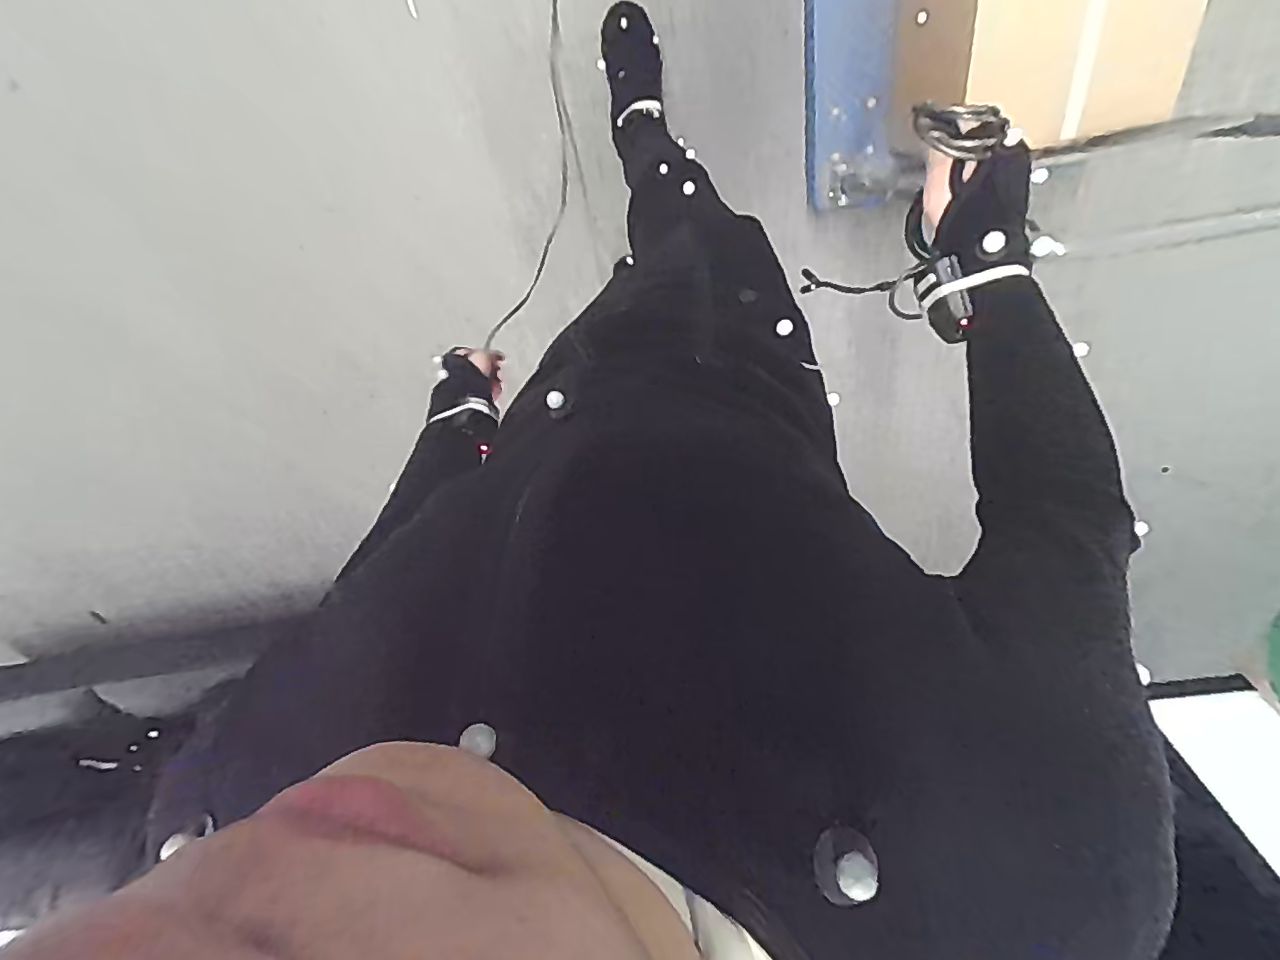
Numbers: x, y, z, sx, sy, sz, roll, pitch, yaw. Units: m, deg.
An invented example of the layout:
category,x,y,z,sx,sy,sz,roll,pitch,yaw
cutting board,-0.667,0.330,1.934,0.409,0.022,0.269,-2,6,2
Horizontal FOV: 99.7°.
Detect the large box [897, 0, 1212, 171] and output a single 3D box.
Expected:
category,x,y,z,sx,sy,sz,roll,pitch,yaw
large box,0.628,-0.754,0.854,0.320,0.320,0.408,-8,124,6
